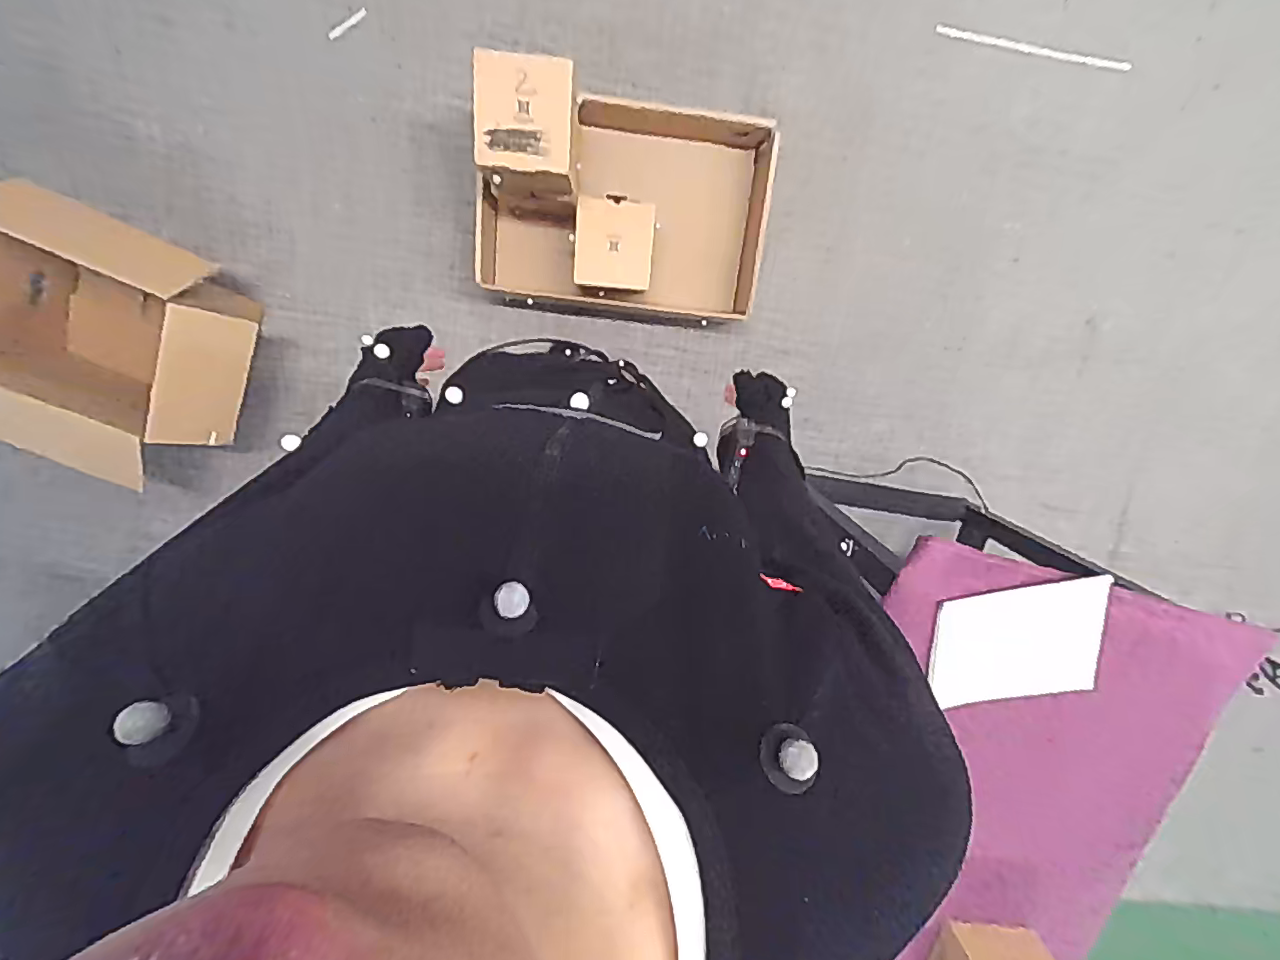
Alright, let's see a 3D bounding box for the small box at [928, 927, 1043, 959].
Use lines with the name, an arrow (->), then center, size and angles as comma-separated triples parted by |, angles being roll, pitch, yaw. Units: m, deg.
small box -> 0.628, 0.925, 0.938 | 0.179, 0.176, 0.168 | 10, 104, -5
